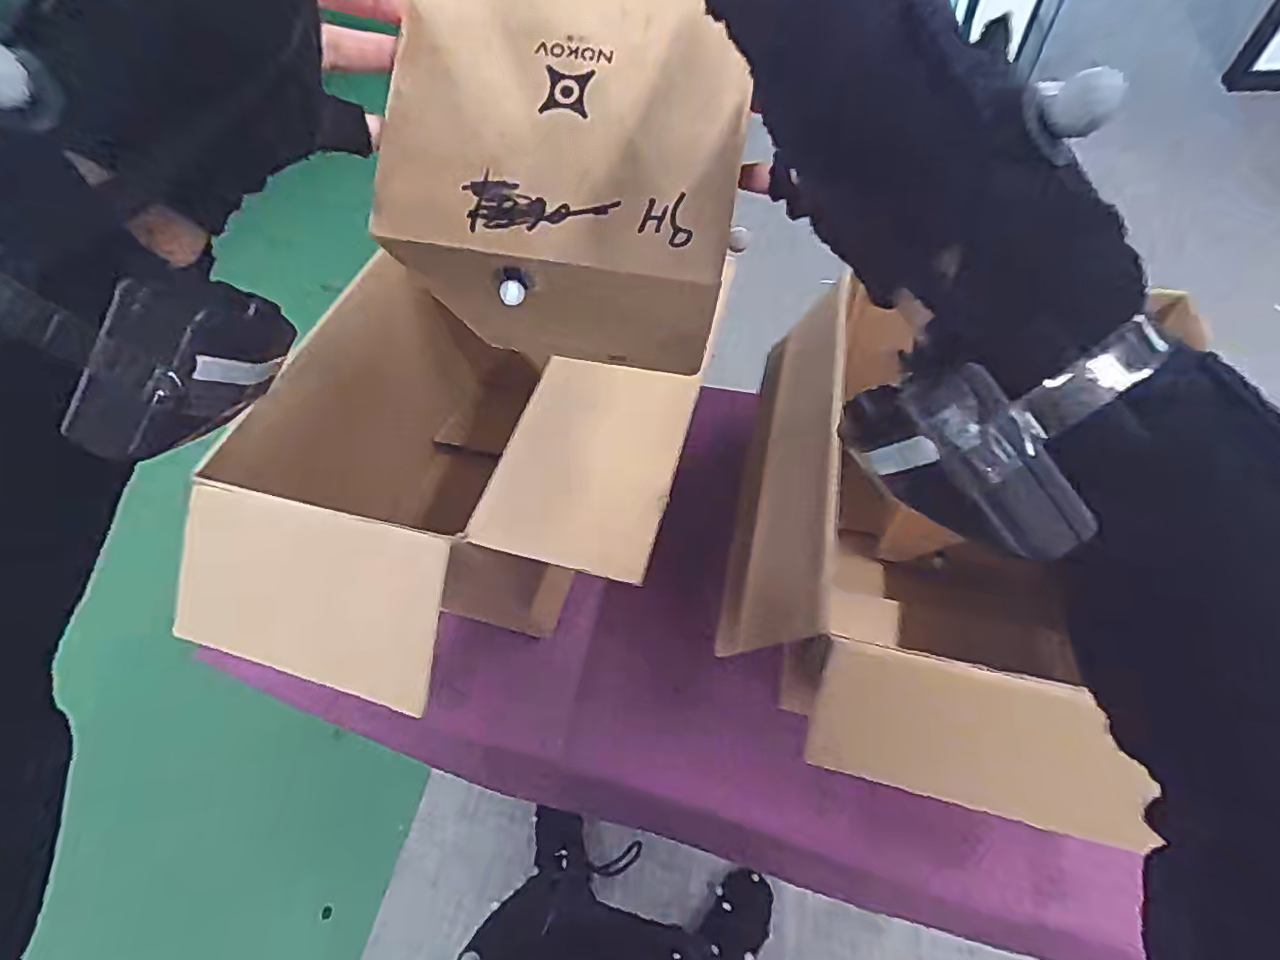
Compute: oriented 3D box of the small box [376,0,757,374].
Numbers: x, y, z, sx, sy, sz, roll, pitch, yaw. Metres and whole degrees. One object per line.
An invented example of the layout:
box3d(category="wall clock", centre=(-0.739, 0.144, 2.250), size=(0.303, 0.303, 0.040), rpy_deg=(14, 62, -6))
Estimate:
box3d(category="small box", centre=(-0.031, -0.183, 0.342), size=(0.168, 0.176, 0.179), rpy_deg=(9, 87, 4))
